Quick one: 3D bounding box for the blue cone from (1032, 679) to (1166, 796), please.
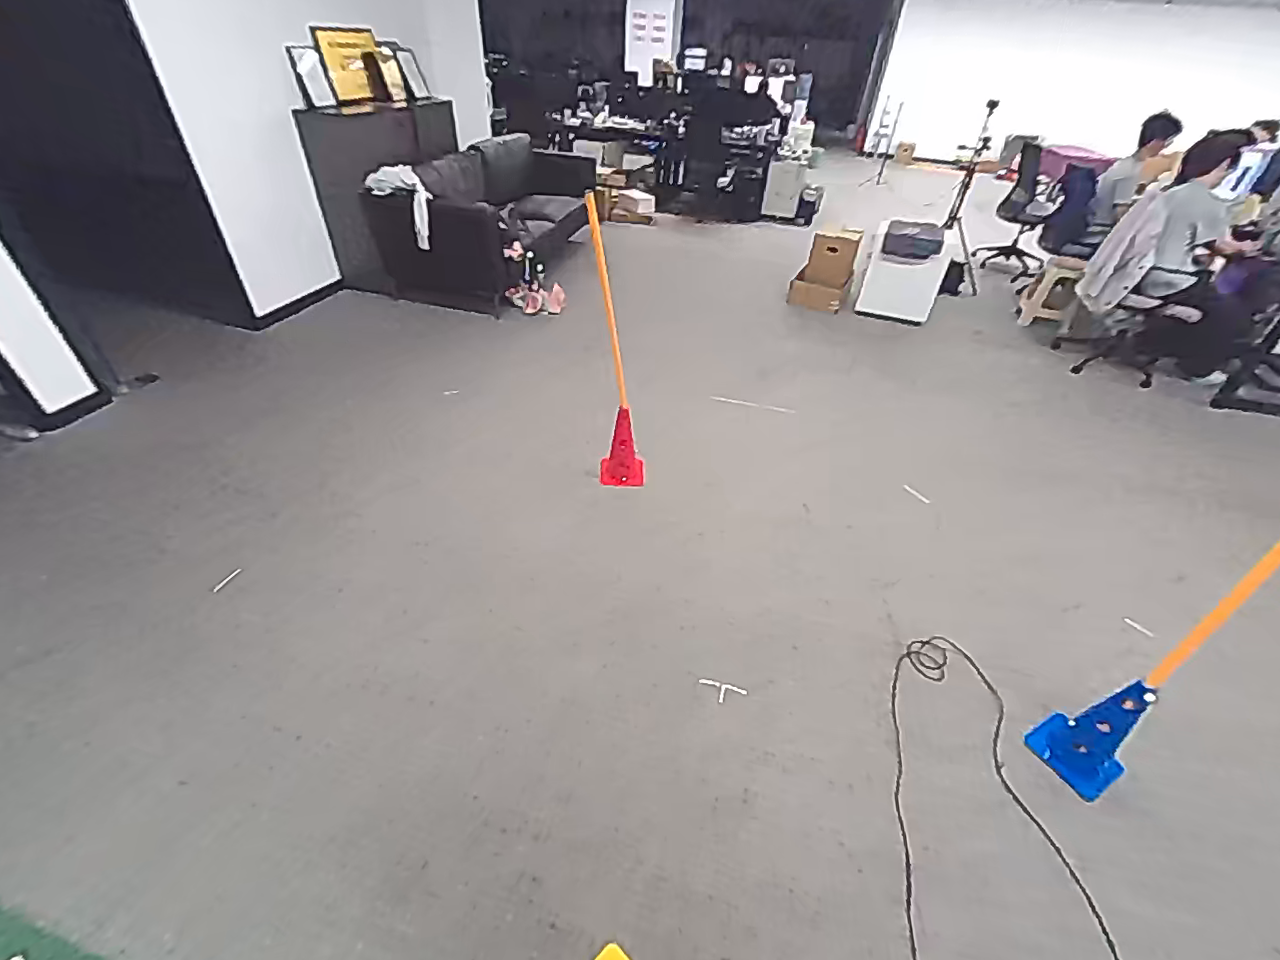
[{"bbox_3d":[1.268,0.654,1.461,0.193,0.380,0.192,-16,42,-26],"label":"blue cone"}]
